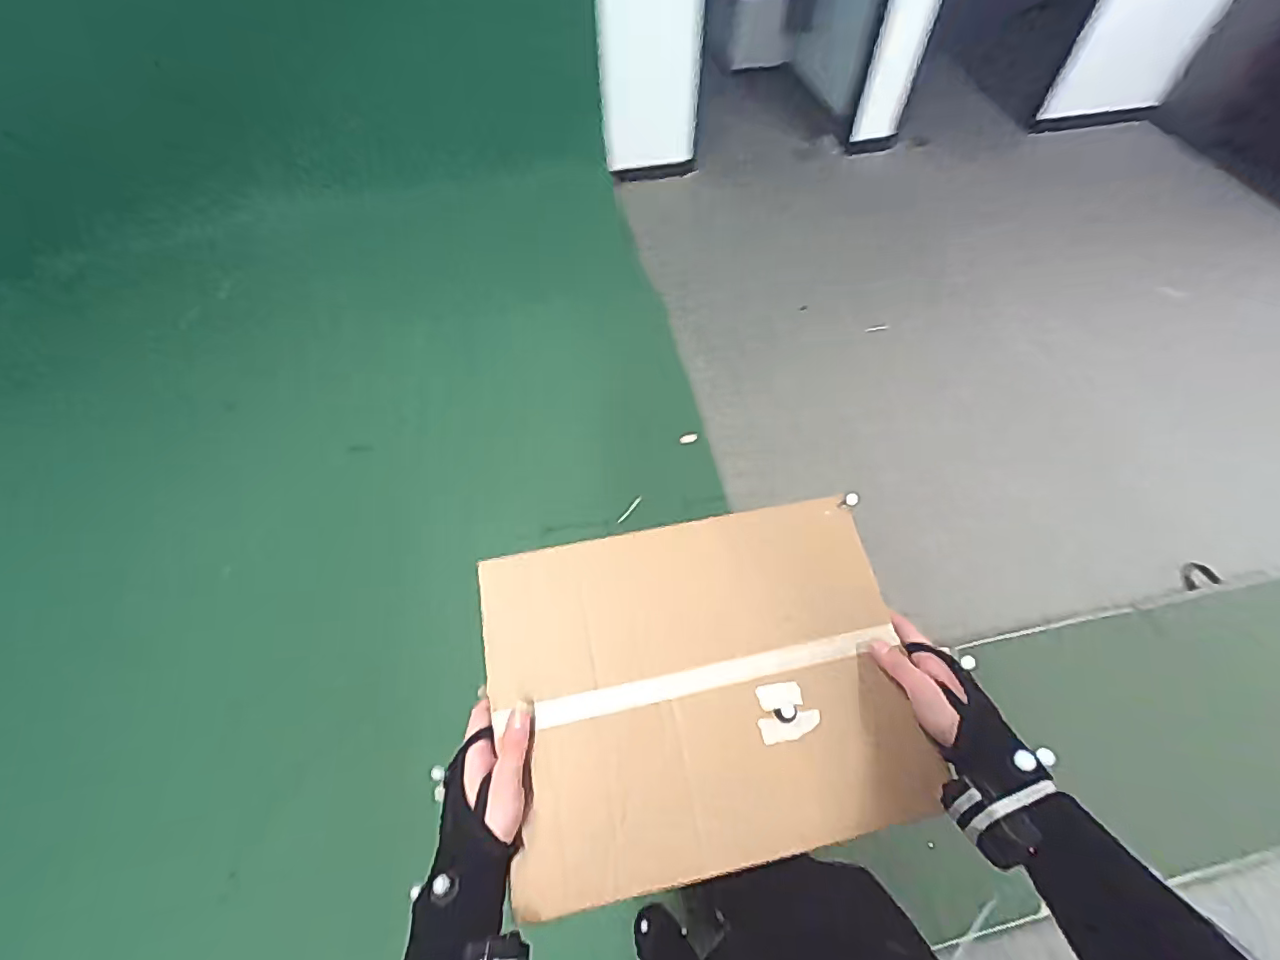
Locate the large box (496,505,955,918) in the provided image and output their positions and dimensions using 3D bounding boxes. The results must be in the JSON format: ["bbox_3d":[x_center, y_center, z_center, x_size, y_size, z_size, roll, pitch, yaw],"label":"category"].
[{"bbox_3d":[0.064,0.261,0.670,0.408,0.320,0.320,-9,67,-7],"label":"large box"}]
